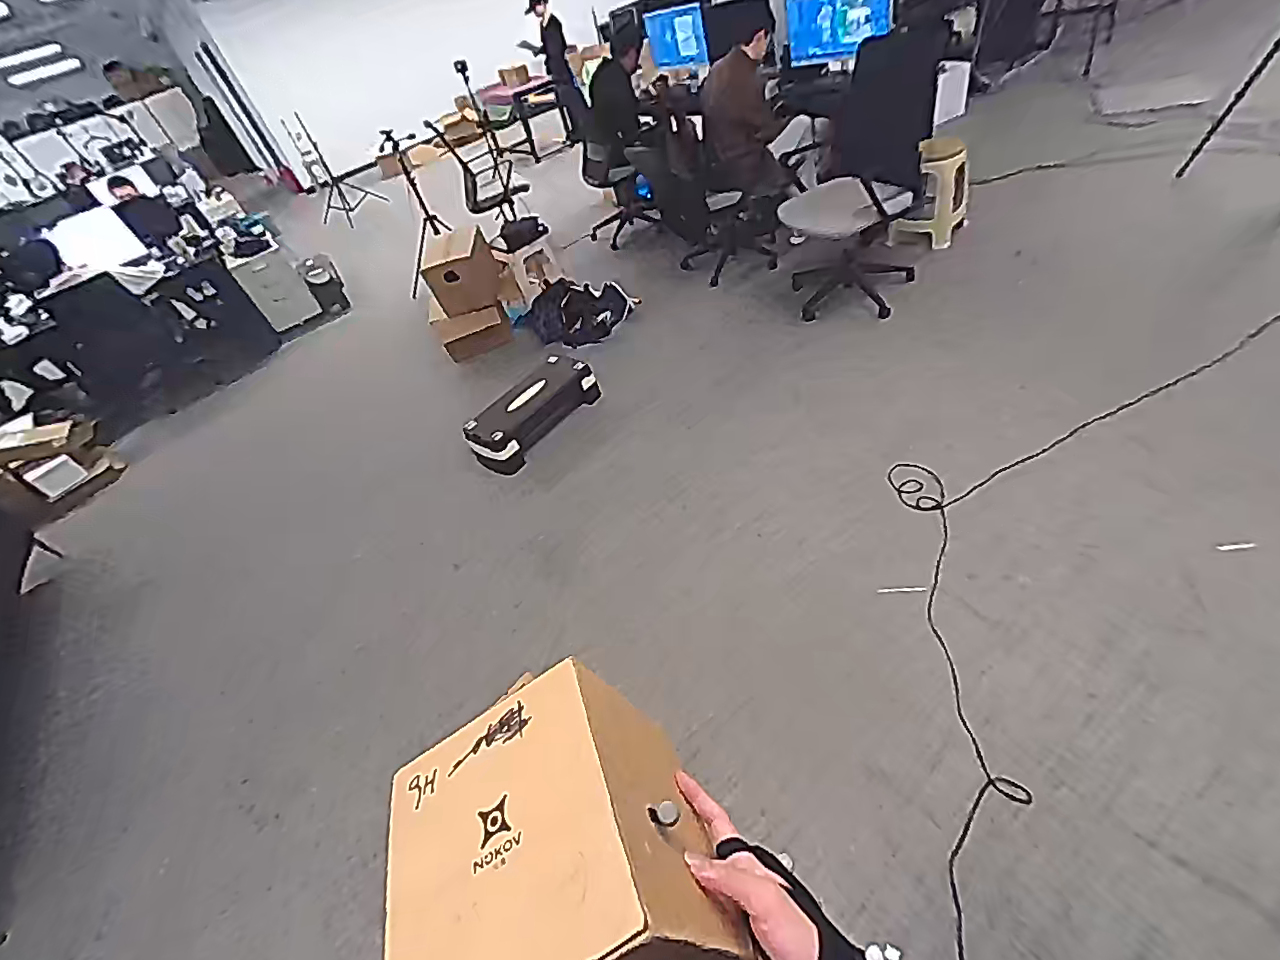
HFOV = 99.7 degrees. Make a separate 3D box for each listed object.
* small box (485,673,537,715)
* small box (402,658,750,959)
[{"bbox_3d":[-0.309,0.704,1.561,0.168,0.176,0.179,-42,48,-22],"label":"small box"},{"bbox_3d":[-0.046,0.272,0.393,0.168,0.176,0.179,-34,40,2],"label":"small box"}]
